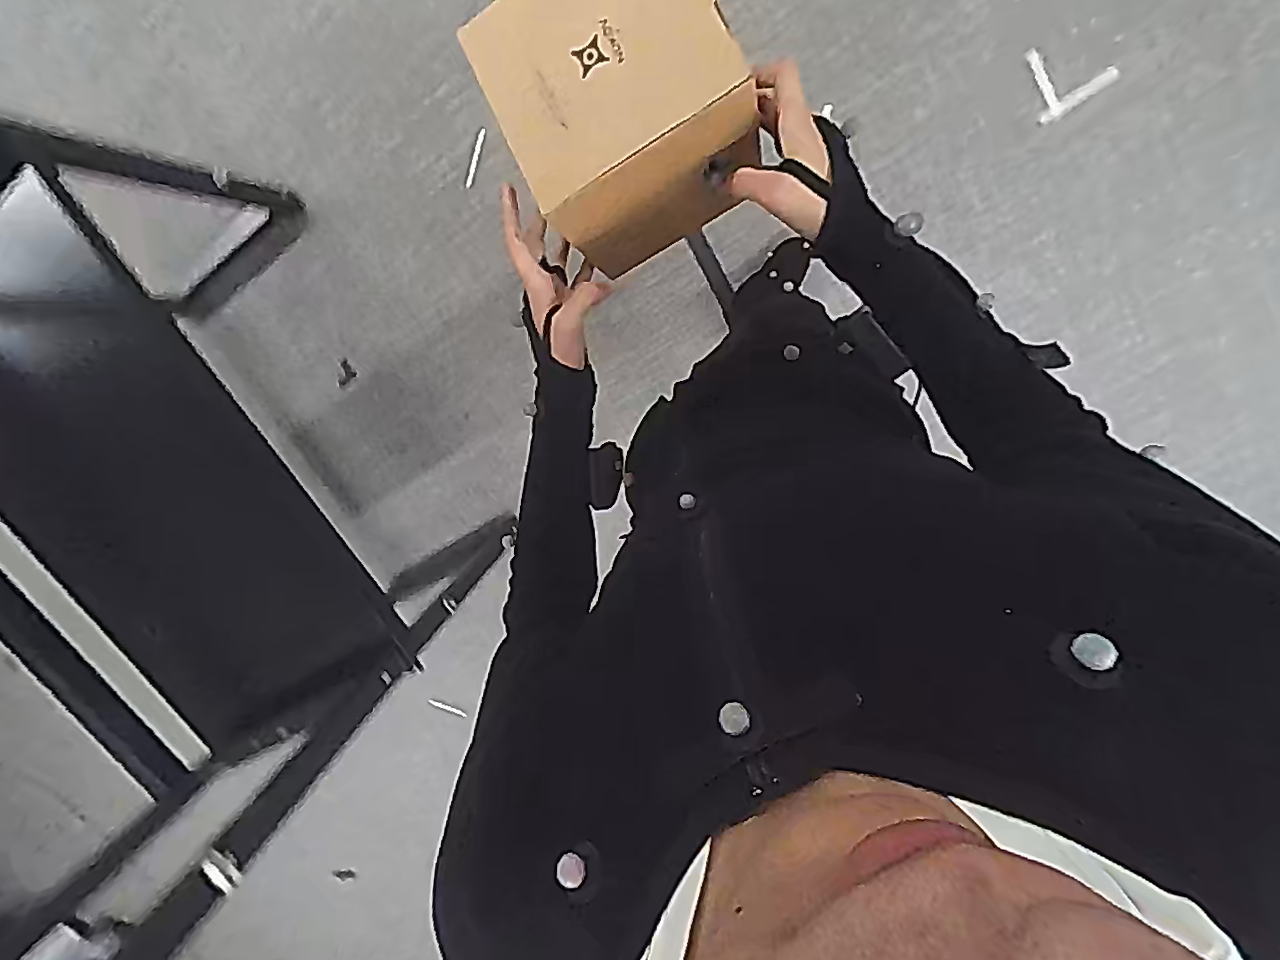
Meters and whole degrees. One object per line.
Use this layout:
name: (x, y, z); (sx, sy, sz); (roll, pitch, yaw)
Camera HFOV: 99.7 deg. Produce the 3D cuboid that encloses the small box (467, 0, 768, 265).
small box: (-0.005, -0.319, 0.460); (0.179, 0.176, 0.168); (-25, 86, 14)
